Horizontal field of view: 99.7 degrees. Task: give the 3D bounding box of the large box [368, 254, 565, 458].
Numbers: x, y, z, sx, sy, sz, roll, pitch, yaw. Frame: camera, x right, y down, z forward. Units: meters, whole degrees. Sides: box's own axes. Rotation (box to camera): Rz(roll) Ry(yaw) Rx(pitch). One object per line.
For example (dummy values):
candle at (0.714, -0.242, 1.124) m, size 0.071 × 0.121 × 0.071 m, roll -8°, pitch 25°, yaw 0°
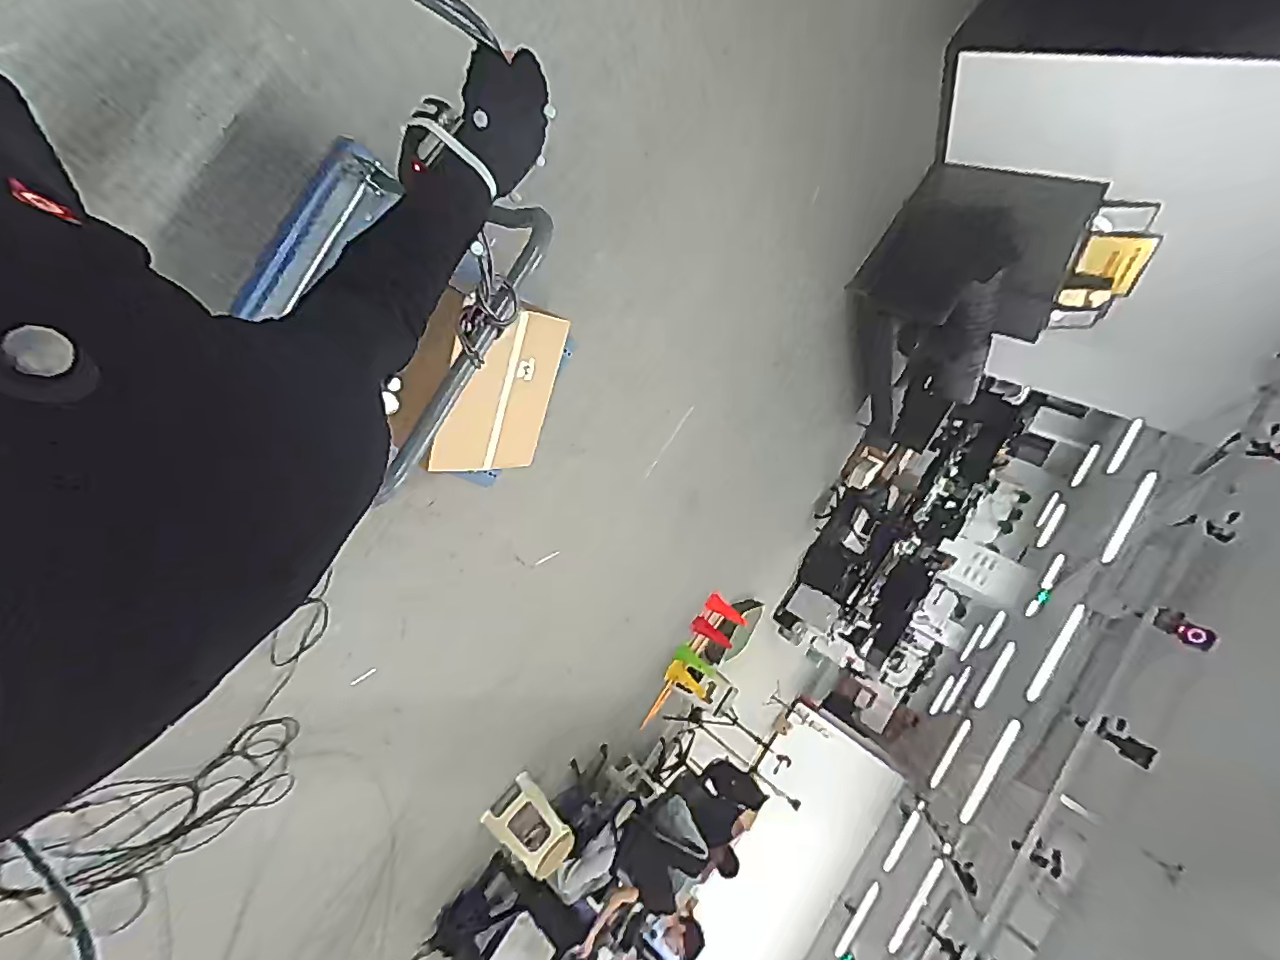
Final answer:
large box at (-0.447, -0.301, 1.369) m, size 0.320 × 0.320 × 0.408 m, roll -7°, pitch 121°, yaw -53°
